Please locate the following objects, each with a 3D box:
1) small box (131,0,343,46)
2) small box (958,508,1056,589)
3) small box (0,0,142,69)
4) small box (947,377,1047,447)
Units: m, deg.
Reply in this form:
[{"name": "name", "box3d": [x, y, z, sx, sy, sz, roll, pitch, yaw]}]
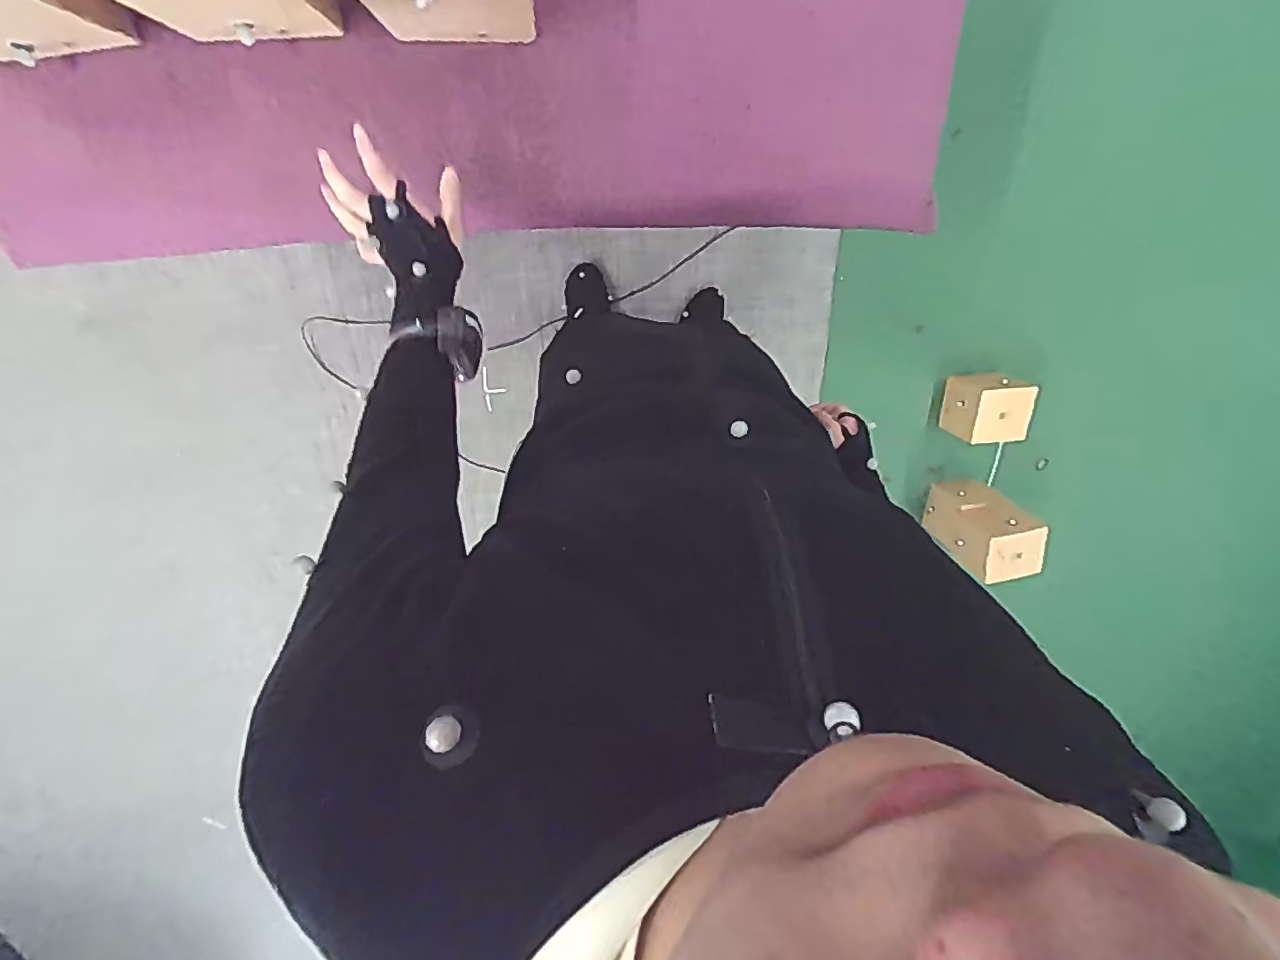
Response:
[{"name": "small box", "box3d": [-0.419, -0.550, 0.517, 0.168, 0.176, 0.179, -5, 116, -3]}, {"name": "small box", "box3d": [1.104, 0.200, 1.638, 0.179, 0.176, 0.168, -12, 115, 0]}, {"name": "small box", "box3d": [-0.644, -0.522, 0.506, 0.168, 0.176, 0.179, -9, 116, -1]}, {"name": "small box", "box3d": [1.063, -0.209, 1.629, 0.179, 0.176, 0.168, -5, 115, -4]}]
